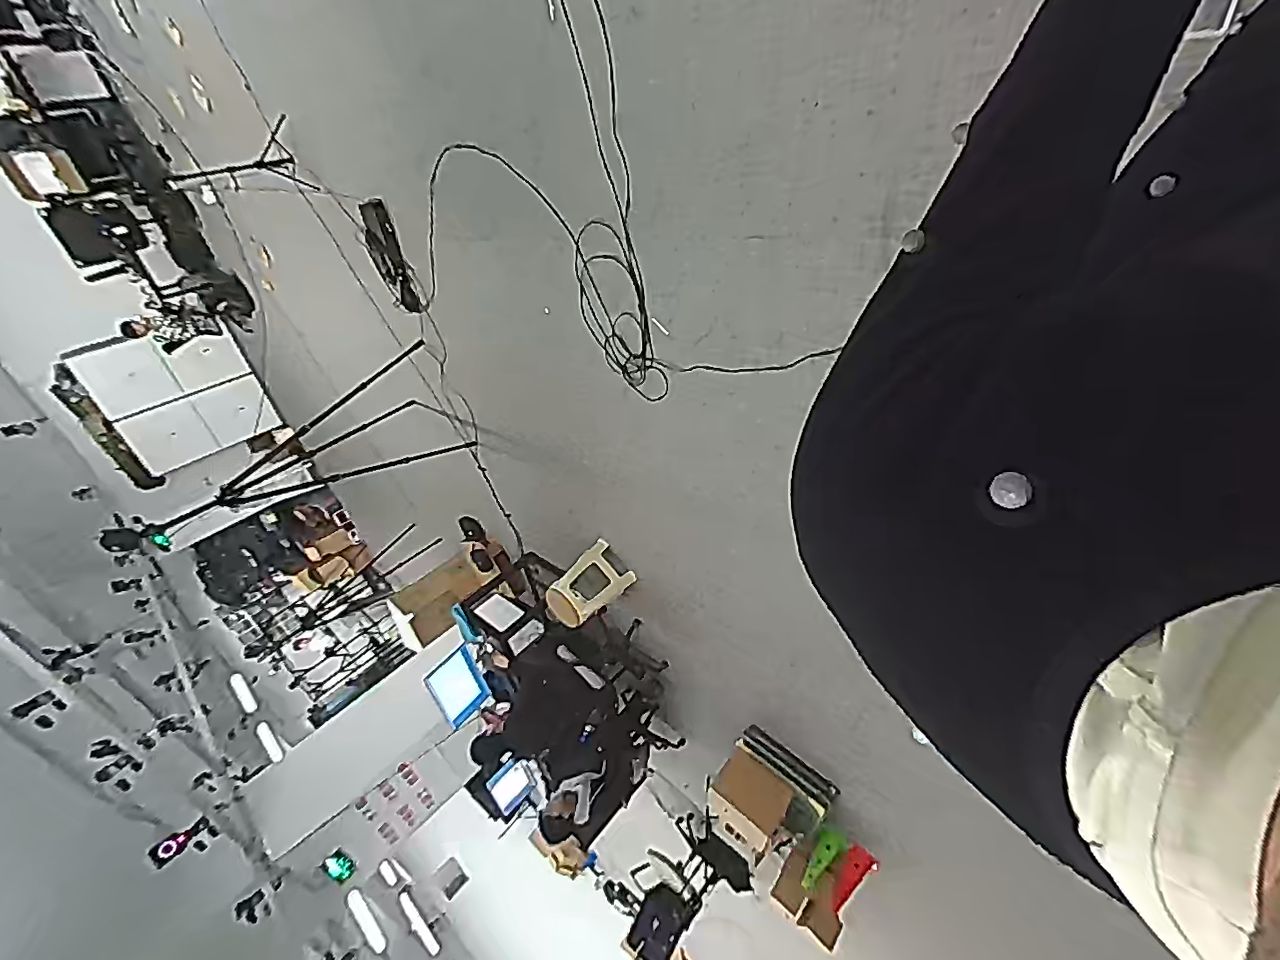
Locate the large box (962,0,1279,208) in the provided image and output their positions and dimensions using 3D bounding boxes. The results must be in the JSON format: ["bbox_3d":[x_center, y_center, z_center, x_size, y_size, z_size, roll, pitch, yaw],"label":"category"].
[{"bbox_3d":[0.356,-0.308,0.166,0.408,0.320,0.320,7,129,26],"label":"large box"}]
